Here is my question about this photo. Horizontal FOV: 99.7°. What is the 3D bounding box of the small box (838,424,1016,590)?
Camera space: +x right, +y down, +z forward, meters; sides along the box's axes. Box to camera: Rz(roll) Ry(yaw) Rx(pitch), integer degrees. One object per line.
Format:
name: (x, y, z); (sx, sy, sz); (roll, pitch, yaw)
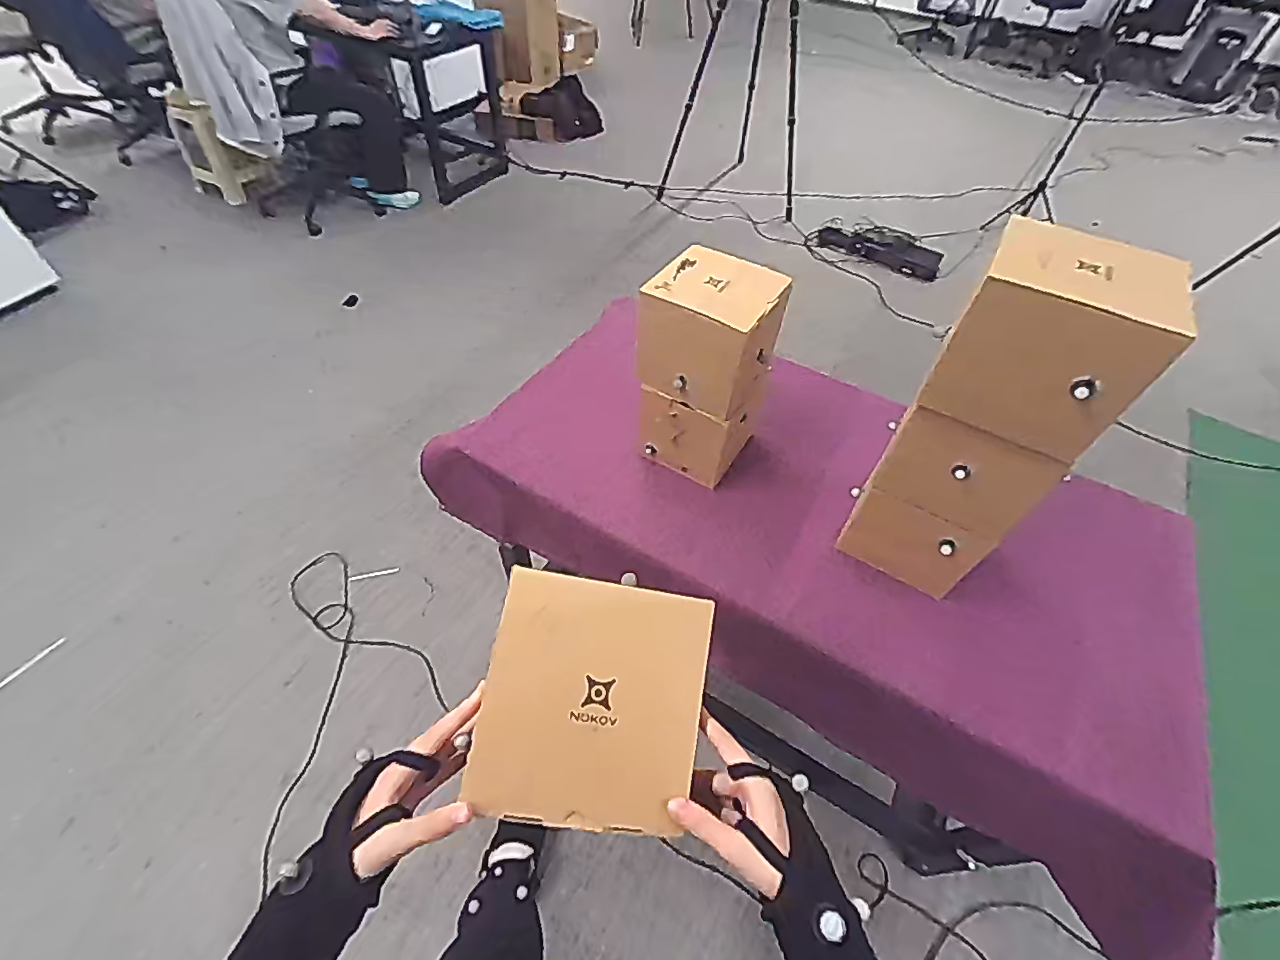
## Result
small box: (0.444, 0.049, 0.854); (0.179, 0.176, 0.168); (28, 54, 18)

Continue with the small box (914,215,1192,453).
small box: (0.441, -0.156, 0.597); (0.179, 0.176, 0.168); (28, 54, 18)

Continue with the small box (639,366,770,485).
small box: (0.110, -0.122, 0.973); (0.168, 0.176, 0.179); (27, 54, 17)

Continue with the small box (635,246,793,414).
small box: (0.108, -0.229, 0.848); (0.179, 0.176, 0.168); (29, 54, 17)
